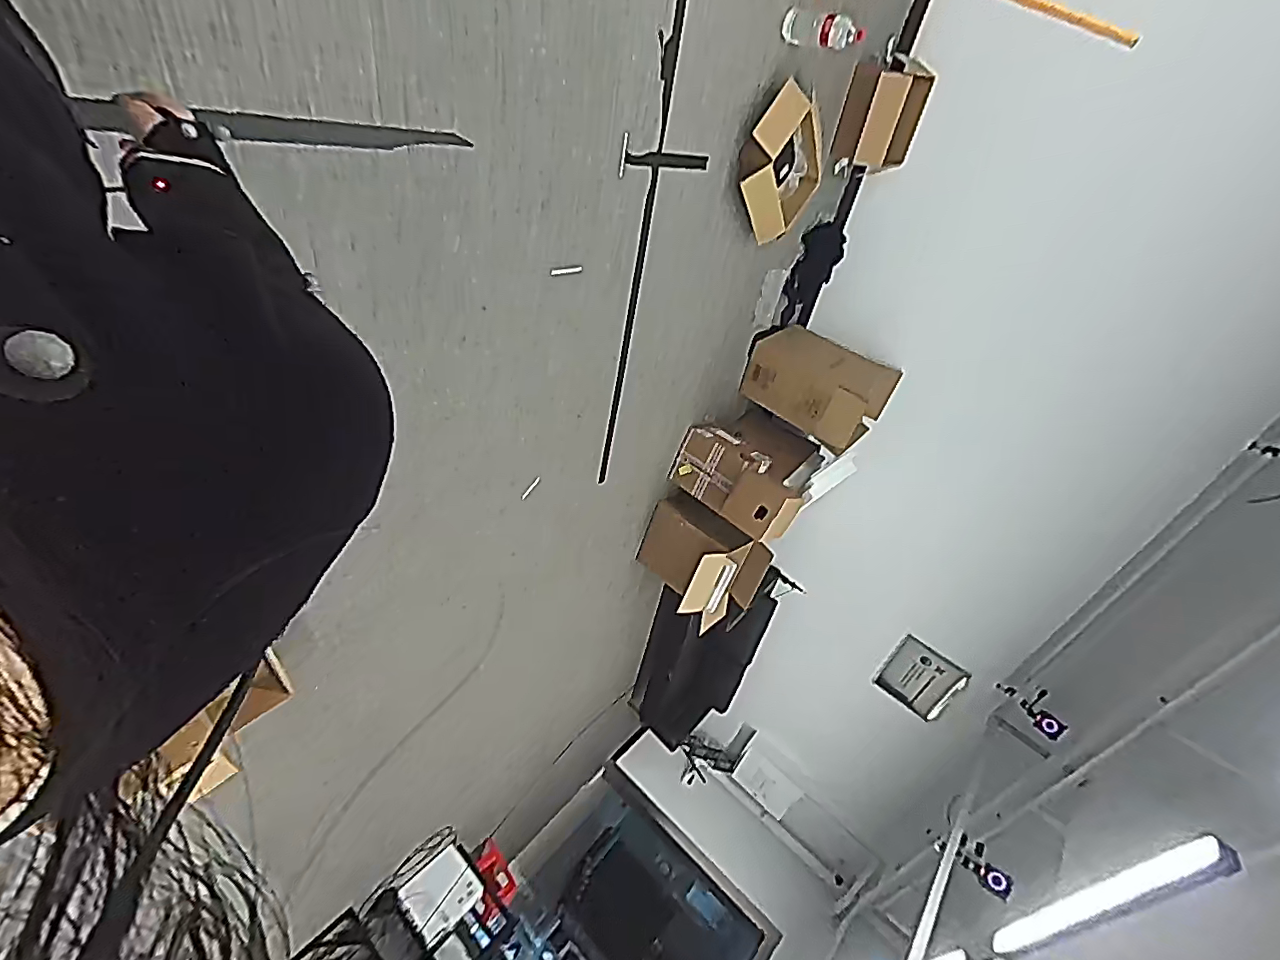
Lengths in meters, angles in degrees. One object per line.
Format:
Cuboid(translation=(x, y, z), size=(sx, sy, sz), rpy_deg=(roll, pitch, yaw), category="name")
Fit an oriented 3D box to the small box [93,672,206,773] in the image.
Cuboid(translation=(-1.401, 0.687, 1.548), size=(0.168, 0.176, 0.179), rpy_deg=(-35, 147, -38), category="small box")
